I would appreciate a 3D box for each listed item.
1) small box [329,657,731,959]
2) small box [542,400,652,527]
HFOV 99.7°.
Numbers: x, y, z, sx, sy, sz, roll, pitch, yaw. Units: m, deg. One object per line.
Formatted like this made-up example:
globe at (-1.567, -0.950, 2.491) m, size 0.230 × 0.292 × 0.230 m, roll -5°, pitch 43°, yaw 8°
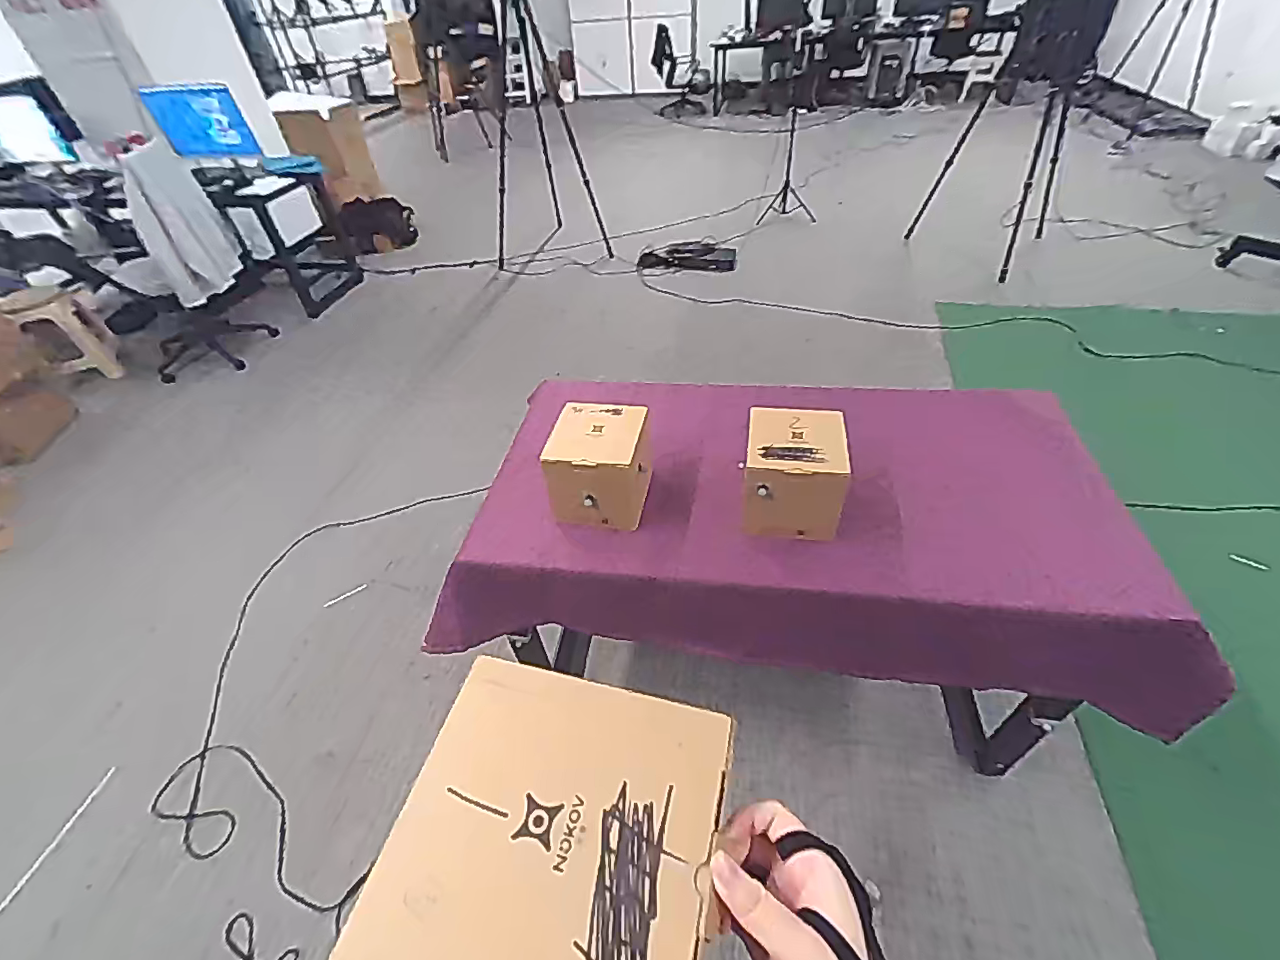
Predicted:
small box at (-0.044, 0.244, 0.355) m, size 0.179 × 0.176 × 0.168 m, roll 9°, pitch 50°, yaw 14°
small box at (-0.071, -0.031, 1.041) m, size 0.168 × 0.176 × 0.179 m, roll 7°, pitch 45°, yaw 10°
